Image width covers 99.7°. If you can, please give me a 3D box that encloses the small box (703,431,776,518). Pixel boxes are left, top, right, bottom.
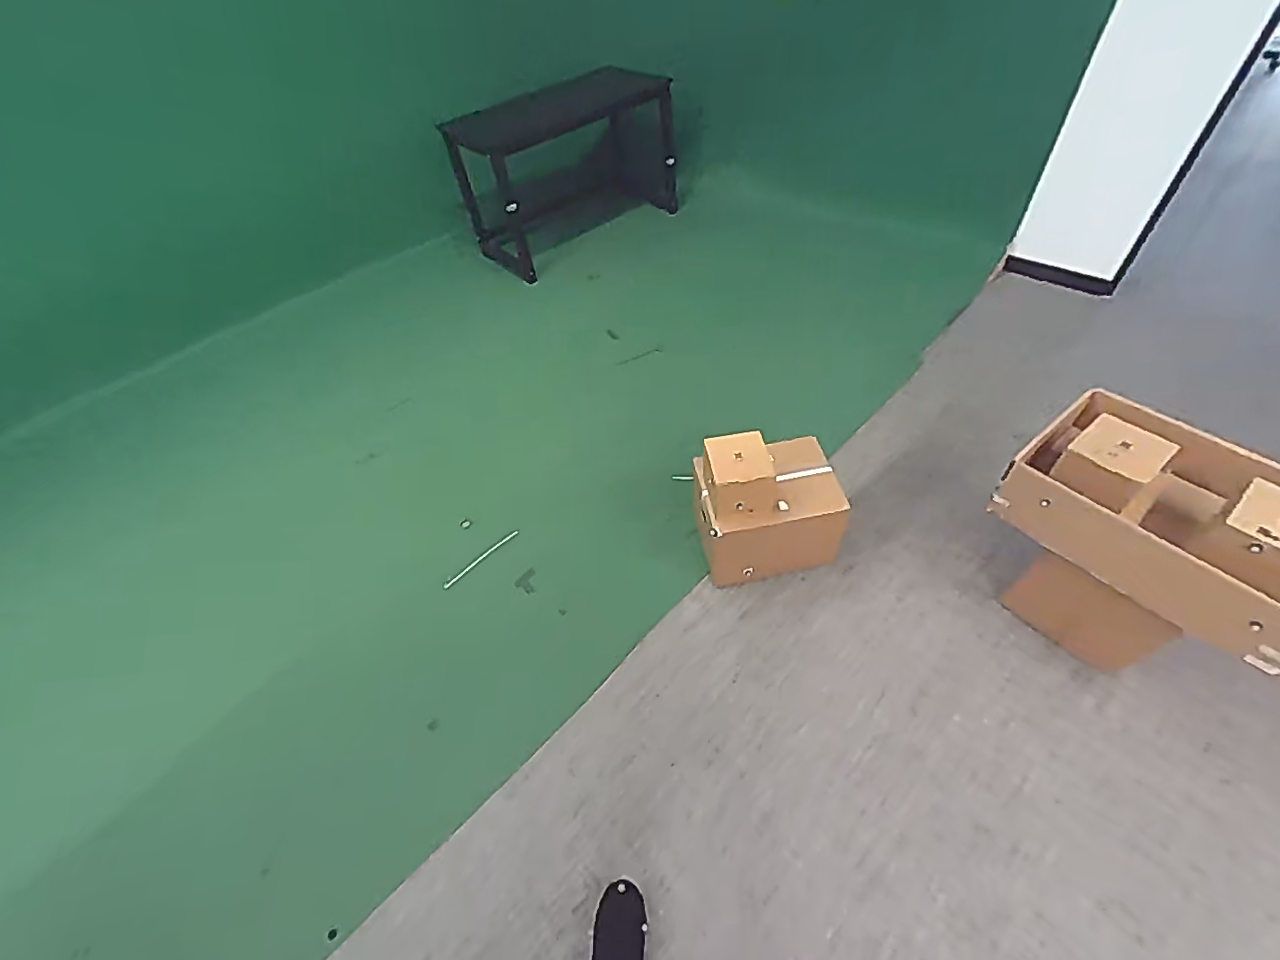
[{"bbox_3d":[0.278,-0.015,1.558,0.168,0.176,0.179,-9,51,-2],"label":"small box"}]
